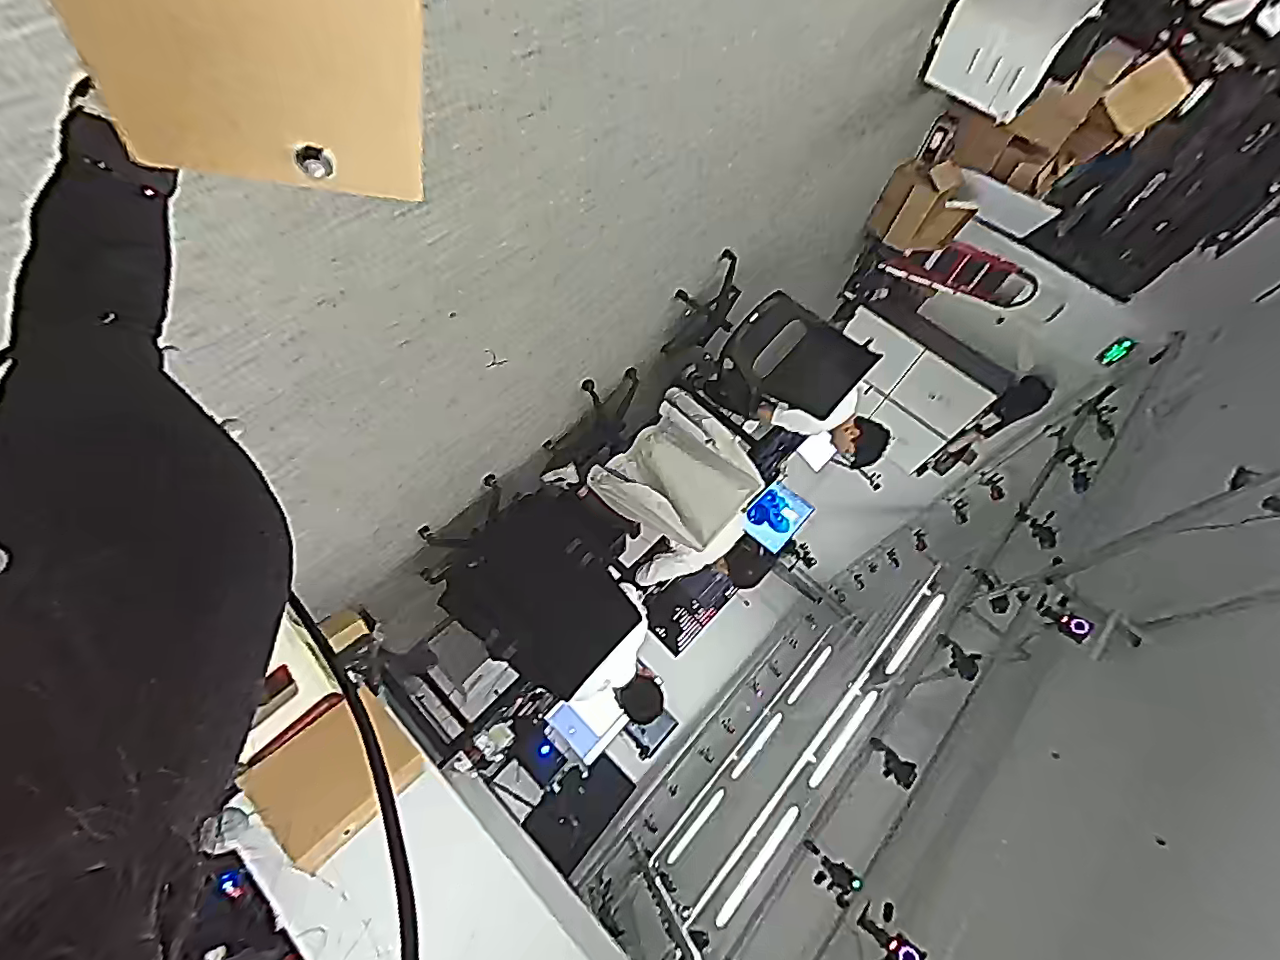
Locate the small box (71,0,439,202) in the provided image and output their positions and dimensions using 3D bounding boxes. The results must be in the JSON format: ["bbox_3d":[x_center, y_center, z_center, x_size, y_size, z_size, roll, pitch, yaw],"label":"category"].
[{"bbox_3d":[-0.211,-0.305,0.315,0.168,0.179,0.176,-3,158,-23],"label":"small box"}]
